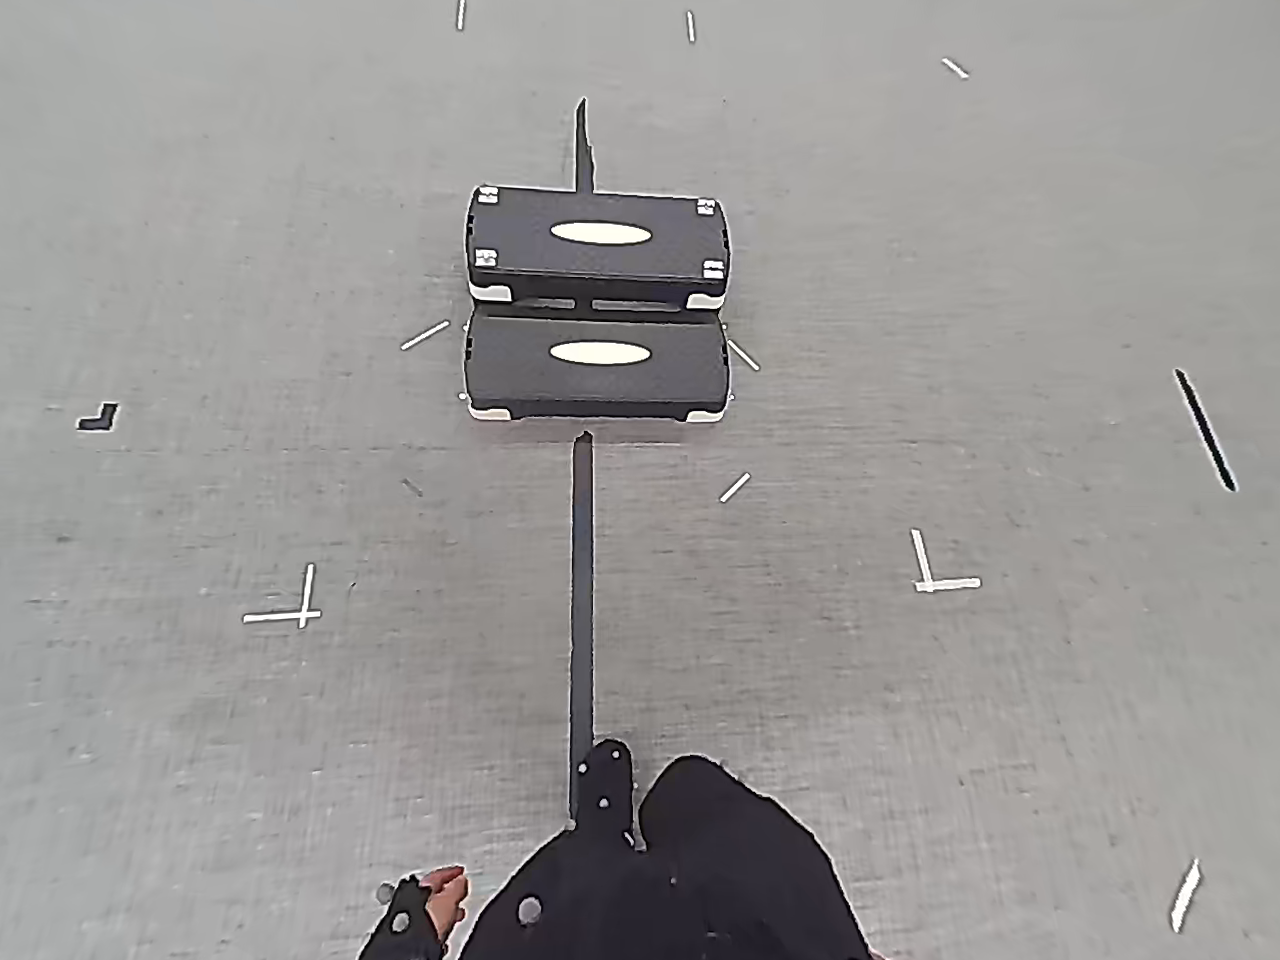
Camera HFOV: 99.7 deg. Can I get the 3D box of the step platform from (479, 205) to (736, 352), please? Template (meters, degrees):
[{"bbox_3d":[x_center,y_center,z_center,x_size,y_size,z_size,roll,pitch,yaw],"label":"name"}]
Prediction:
[{"bbox_3d":[-0.083,-0.545,1.475,0.684,0.204,0.286,4,69,-6],"label":"step platform"}]
